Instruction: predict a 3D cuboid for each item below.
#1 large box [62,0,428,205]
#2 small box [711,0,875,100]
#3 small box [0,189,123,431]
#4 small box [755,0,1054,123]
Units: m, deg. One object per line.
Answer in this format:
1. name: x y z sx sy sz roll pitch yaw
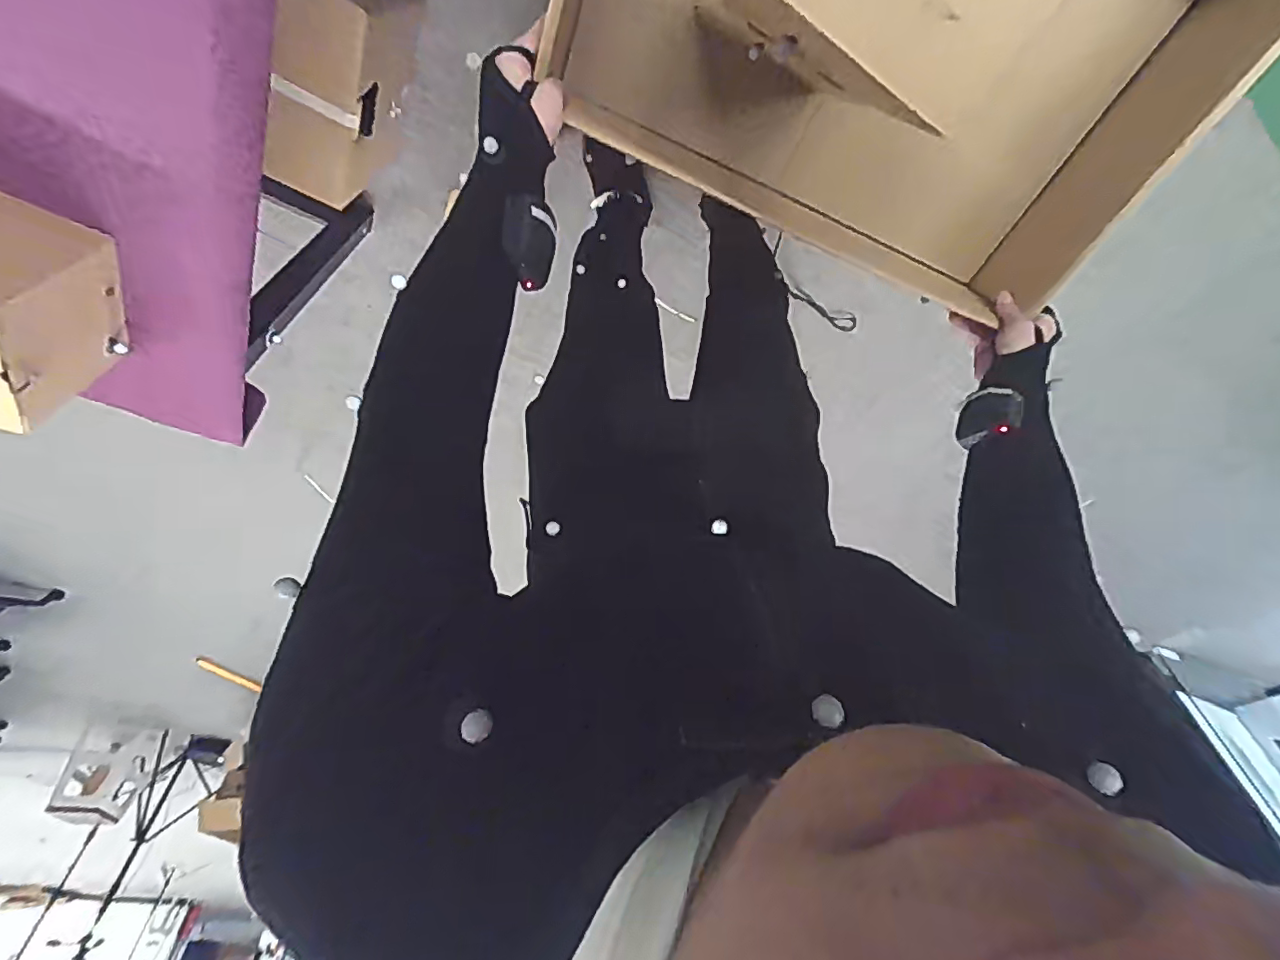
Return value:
1. large box: -0.630 -0.754 0.920 0.408 0.320 0.320 21 130 -19
2. small box: 0.175 -0.480 0.473 0.168 0.176 0.179 19 129 -18
3. small box: -0.678 -0.187 0.549 0.179 0.176 0.168 22 130 -19
4. small box: 0.181 -0.377 0.346 0.168 0.176 0.179 23 127 -20
